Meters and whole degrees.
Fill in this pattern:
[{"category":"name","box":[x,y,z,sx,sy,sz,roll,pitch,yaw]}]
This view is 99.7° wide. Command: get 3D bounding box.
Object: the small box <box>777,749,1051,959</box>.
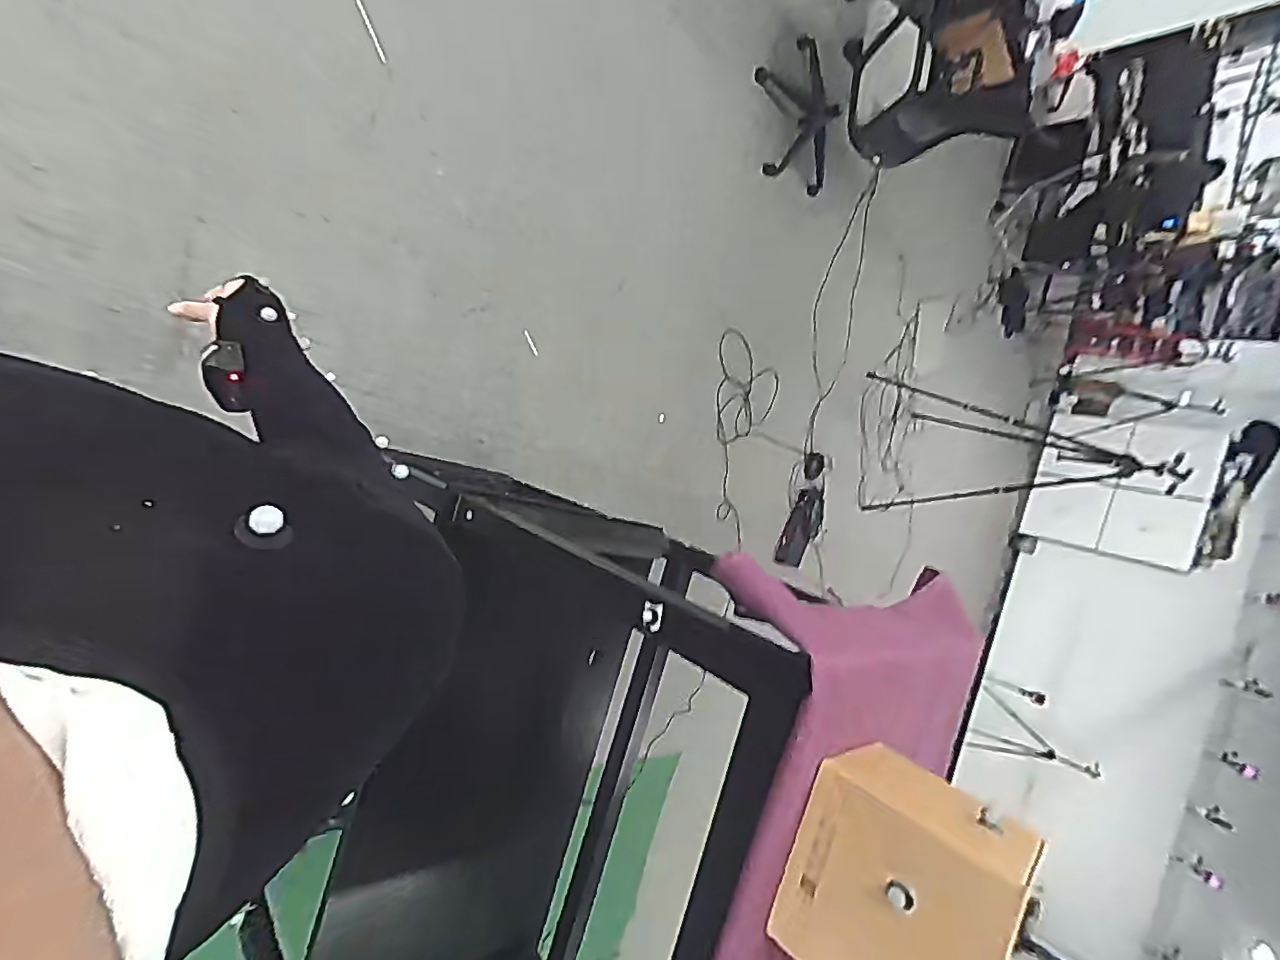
[{"category":"small box","box":[0.253,0.378,0.504,0.179,0.176,0.168,22,86,-47]}]
